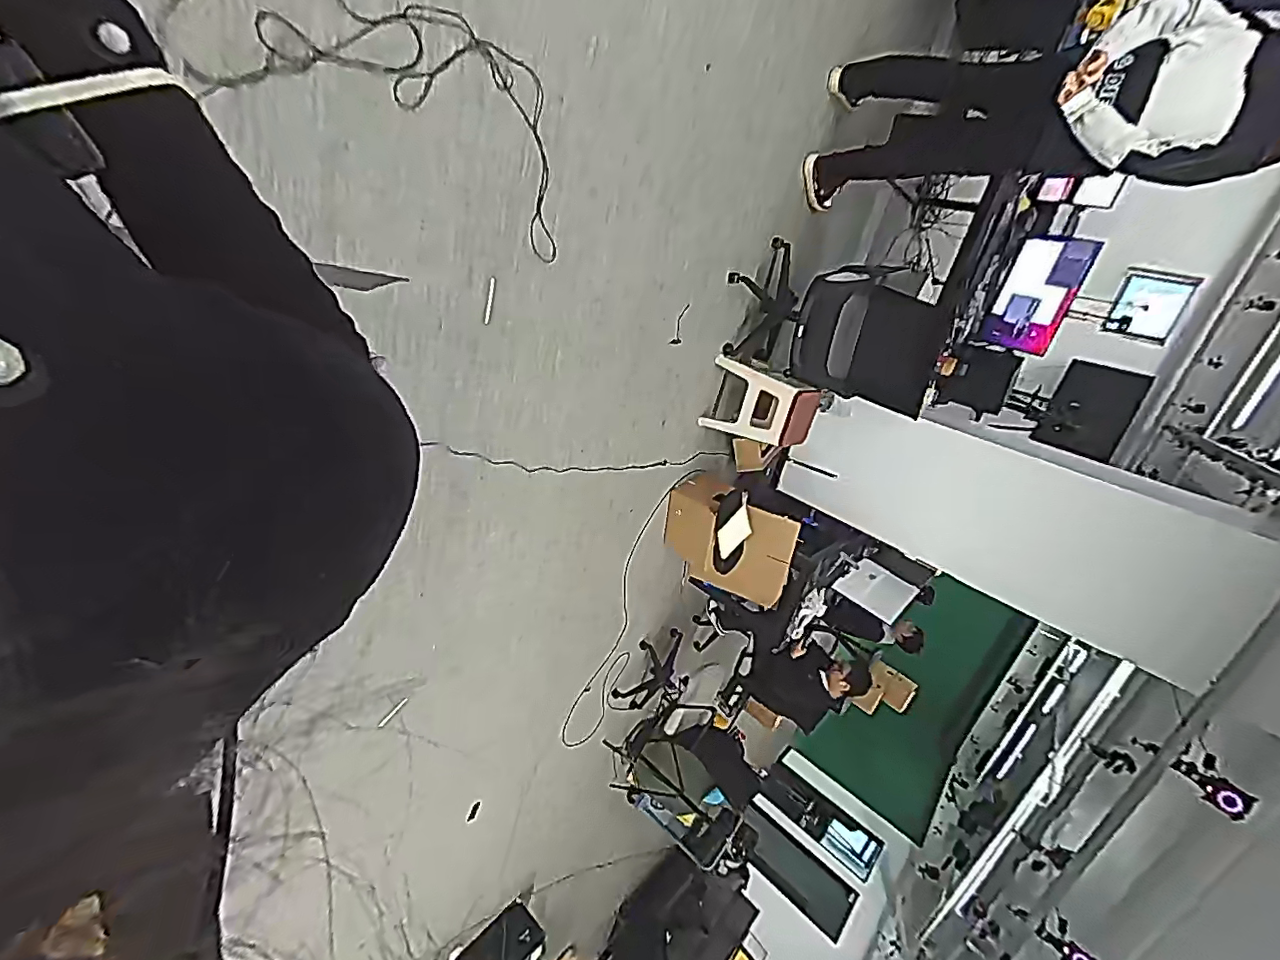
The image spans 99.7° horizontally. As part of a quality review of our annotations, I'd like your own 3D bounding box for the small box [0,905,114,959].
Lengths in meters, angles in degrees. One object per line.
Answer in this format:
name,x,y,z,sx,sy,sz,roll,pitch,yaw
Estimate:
small box,-0.797,0.718,0.699,0.179,0.176,0.168,-11,123,-50
